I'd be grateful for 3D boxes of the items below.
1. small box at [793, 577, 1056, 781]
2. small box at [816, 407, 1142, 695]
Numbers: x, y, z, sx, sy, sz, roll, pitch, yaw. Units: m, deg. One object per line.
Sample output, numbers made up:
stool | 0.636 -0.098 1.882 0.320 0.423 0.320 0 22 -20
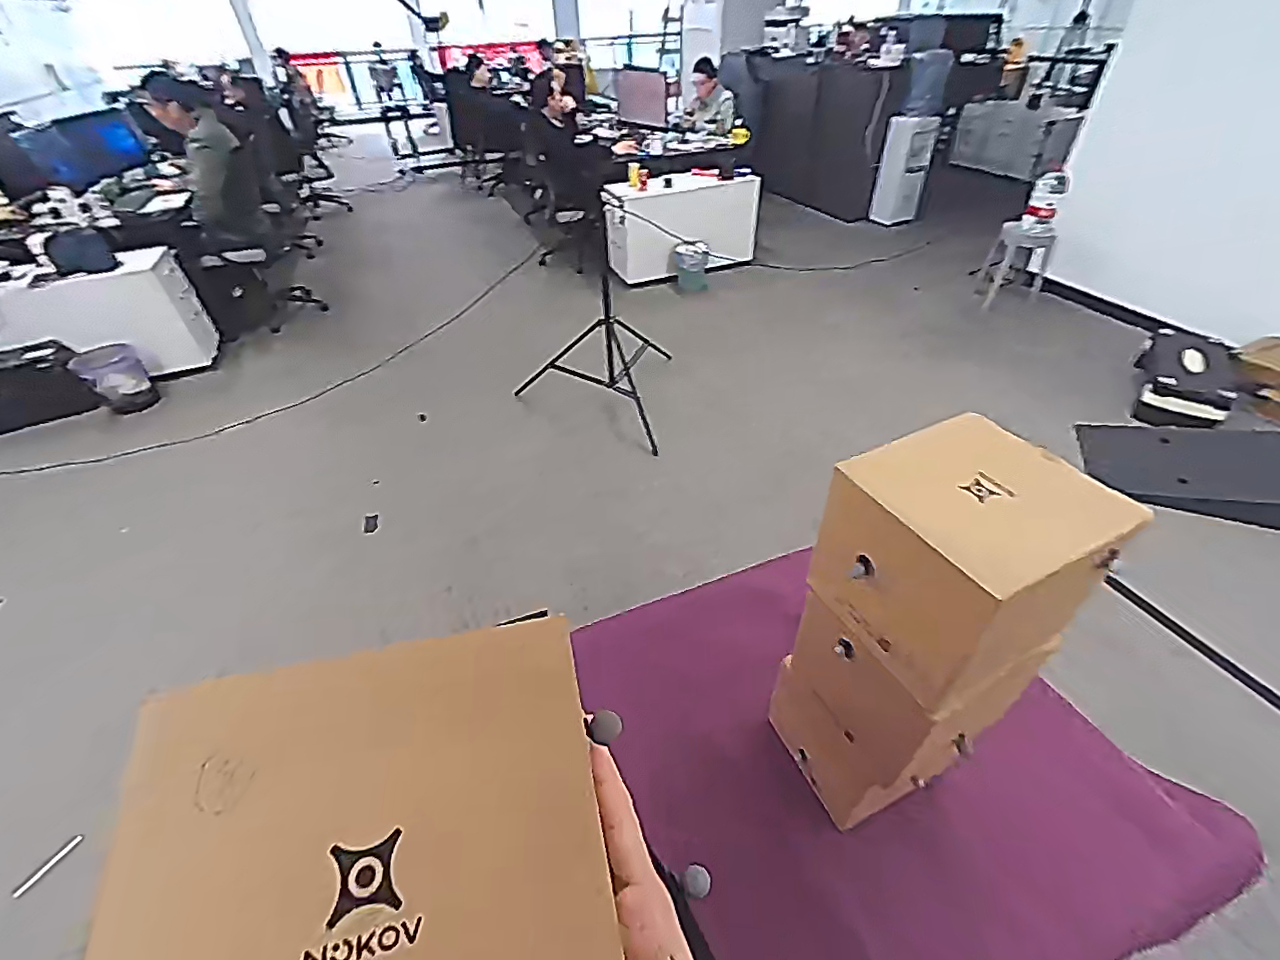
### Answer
small box | 0.295 0.191 0.602 0.179 0.176 0.168 -20 43 -19
small box | 0.284 0.063 0.500 0.179 0.176 0.168 -20 44 -18
